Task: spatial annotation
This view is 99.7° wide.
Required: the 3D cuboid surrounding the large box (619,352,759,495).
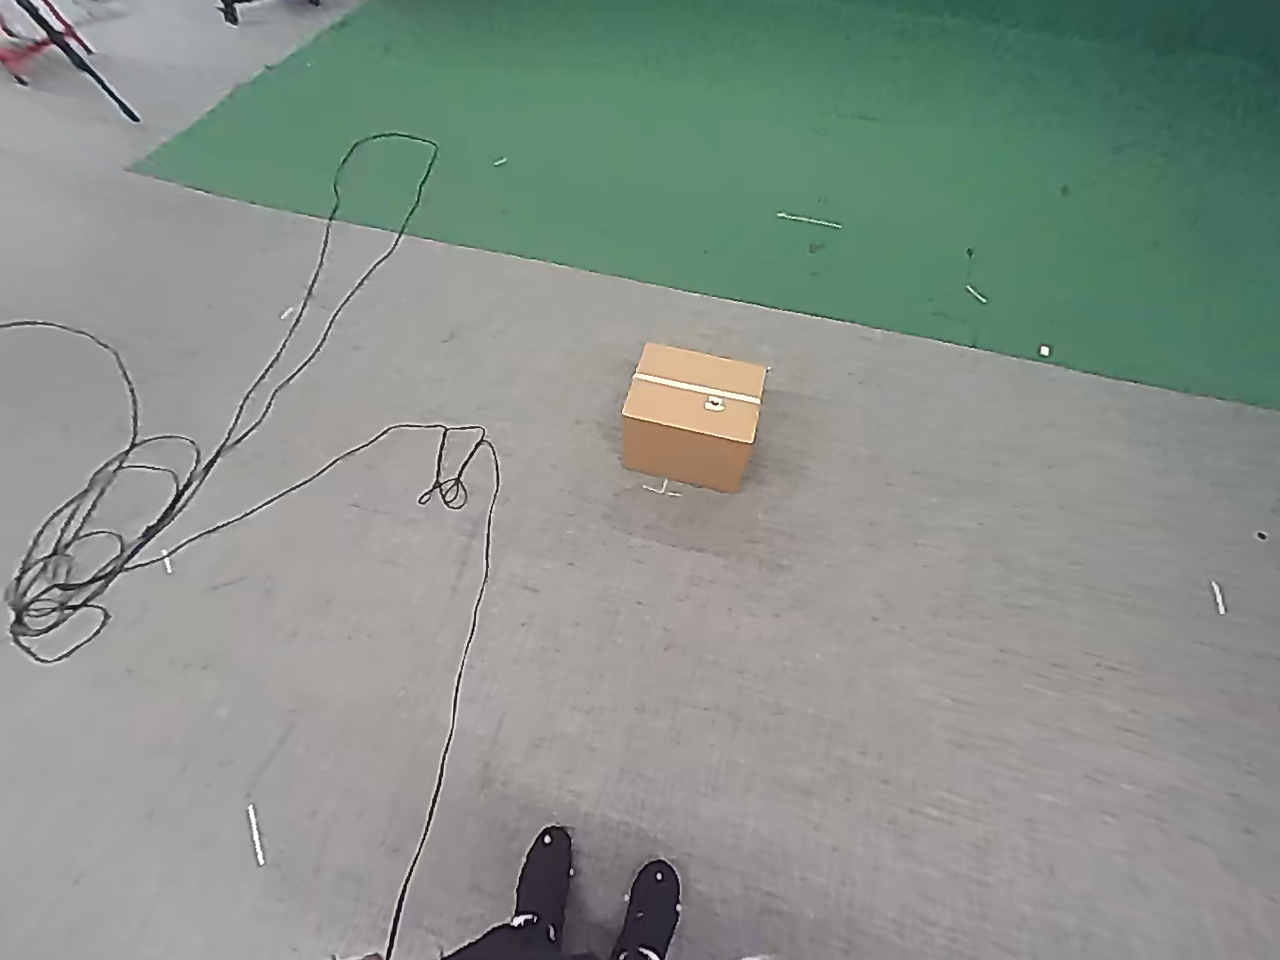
[{"bbox_3d":[0.155,-0.185,1.829,0.408,0.320,0.320,13,59,6],"label":"large box"}]
